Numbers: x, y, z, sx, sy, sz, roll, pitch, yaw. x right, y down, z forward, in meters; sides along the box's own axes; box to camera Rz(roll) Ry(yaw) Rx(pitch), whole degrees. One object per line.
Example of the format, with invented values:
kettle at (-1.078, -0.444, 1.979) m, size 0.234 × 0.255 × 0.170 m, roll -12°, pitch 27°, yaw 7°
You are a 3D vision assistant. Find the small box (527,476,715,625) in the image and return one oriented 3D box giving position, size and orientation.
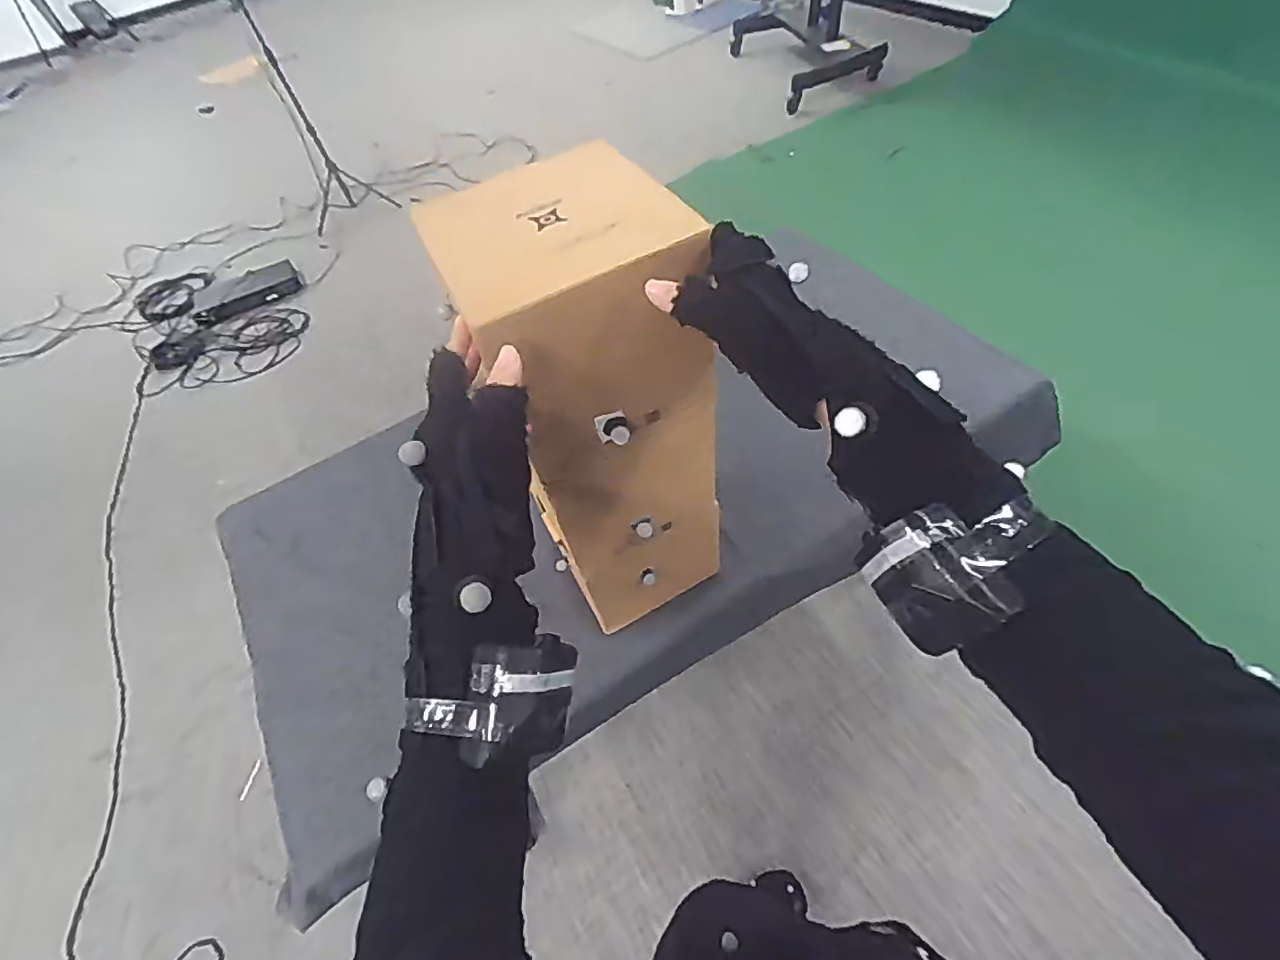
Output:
small box at (-0.016, 0.057, 0.698) m, size 0.179 × 0.176 × 0.168 m, roll -29°, pitch 55°, yaw -10°

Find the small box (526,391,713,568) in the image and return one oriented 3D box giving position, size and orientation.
small box at (-0.038, -0.041, 0.568) m, size 0.168 × 0.176 × 0.179 m, roll -28°, pitch 53°, yaw -11°

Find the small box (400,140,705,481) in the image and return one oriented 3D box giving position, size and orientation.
small box at (-0.061, -0.132, 0.435) m, size 0.168 × 0.176 × 0.179 m, roll -27°, pitch 55°, yaw -9°
